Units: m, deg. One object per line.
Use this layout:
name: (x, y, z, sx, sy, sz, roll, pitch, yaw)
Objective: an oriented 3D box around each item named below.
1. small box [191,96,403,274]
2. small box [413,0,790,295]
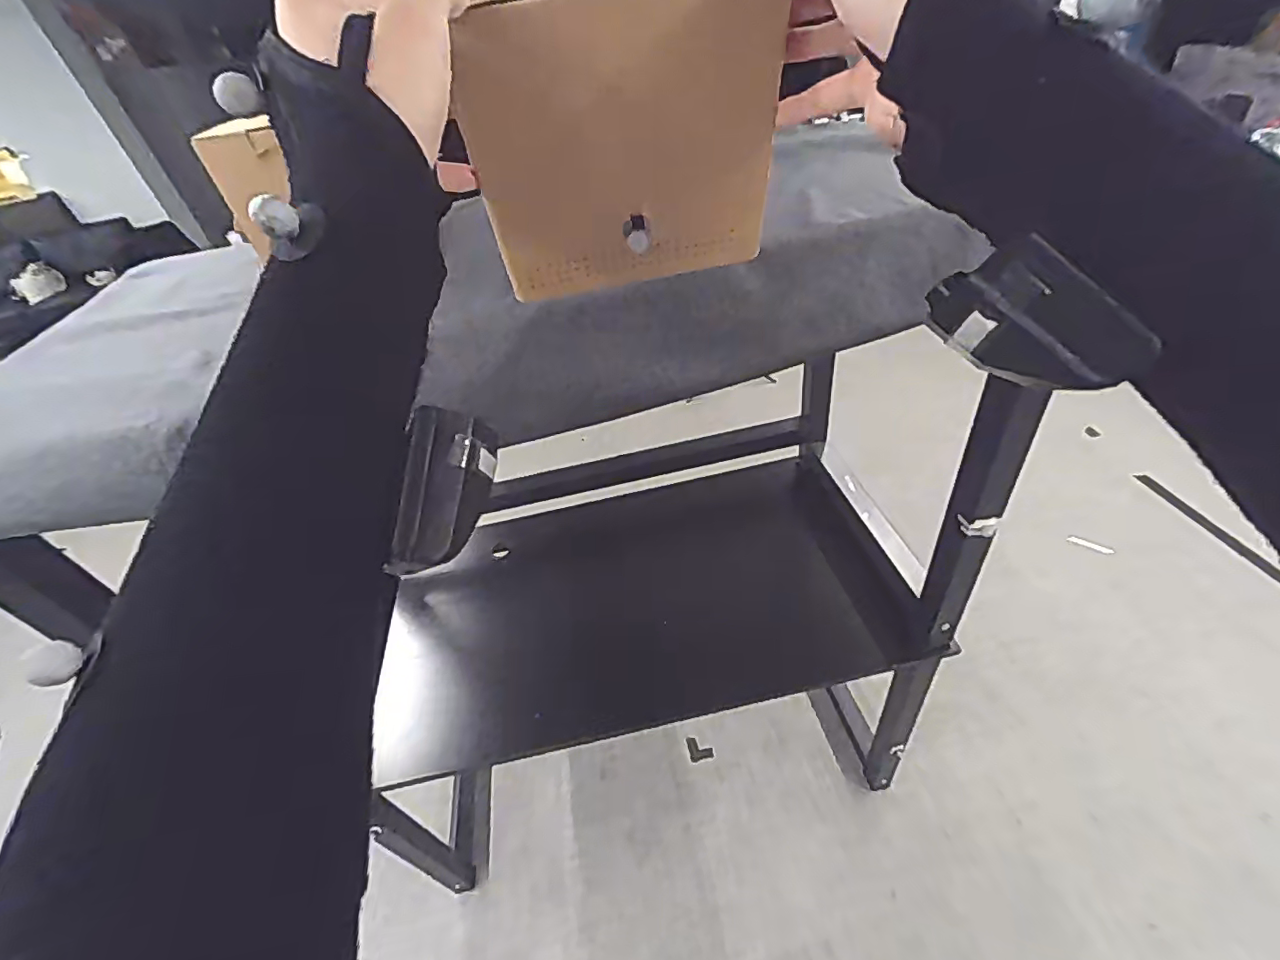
small box: (-0.440, -0.396, 0.733, 0.168, 0.176, 0.179, -15, 41, -5)
small box: (-0.025, -0.248, 0.347, 0.179, 0.176, 0.168, -12, 59, -3)
